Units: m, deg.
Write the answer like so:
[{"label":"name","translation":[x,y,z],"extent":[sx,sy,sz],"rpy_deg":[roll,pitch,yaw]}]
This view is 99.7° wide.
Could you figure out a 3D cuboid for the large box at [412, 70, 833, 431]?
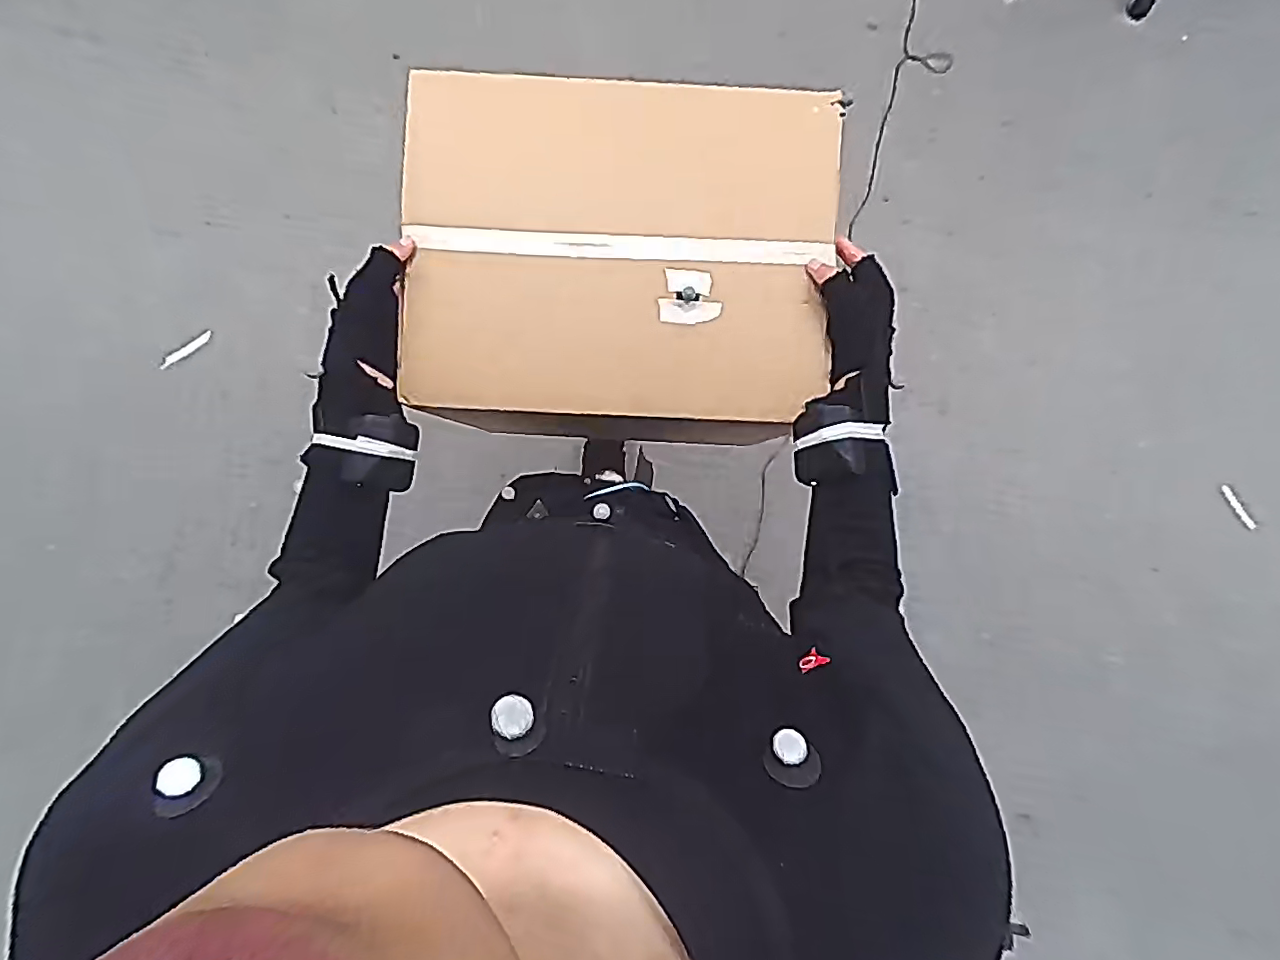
[{"label":"large box","translation":[-0.021,-0.232,0.668],"extent":[0.408,0.320,0.320],"rpy_deg":[3,91,-1]}]
